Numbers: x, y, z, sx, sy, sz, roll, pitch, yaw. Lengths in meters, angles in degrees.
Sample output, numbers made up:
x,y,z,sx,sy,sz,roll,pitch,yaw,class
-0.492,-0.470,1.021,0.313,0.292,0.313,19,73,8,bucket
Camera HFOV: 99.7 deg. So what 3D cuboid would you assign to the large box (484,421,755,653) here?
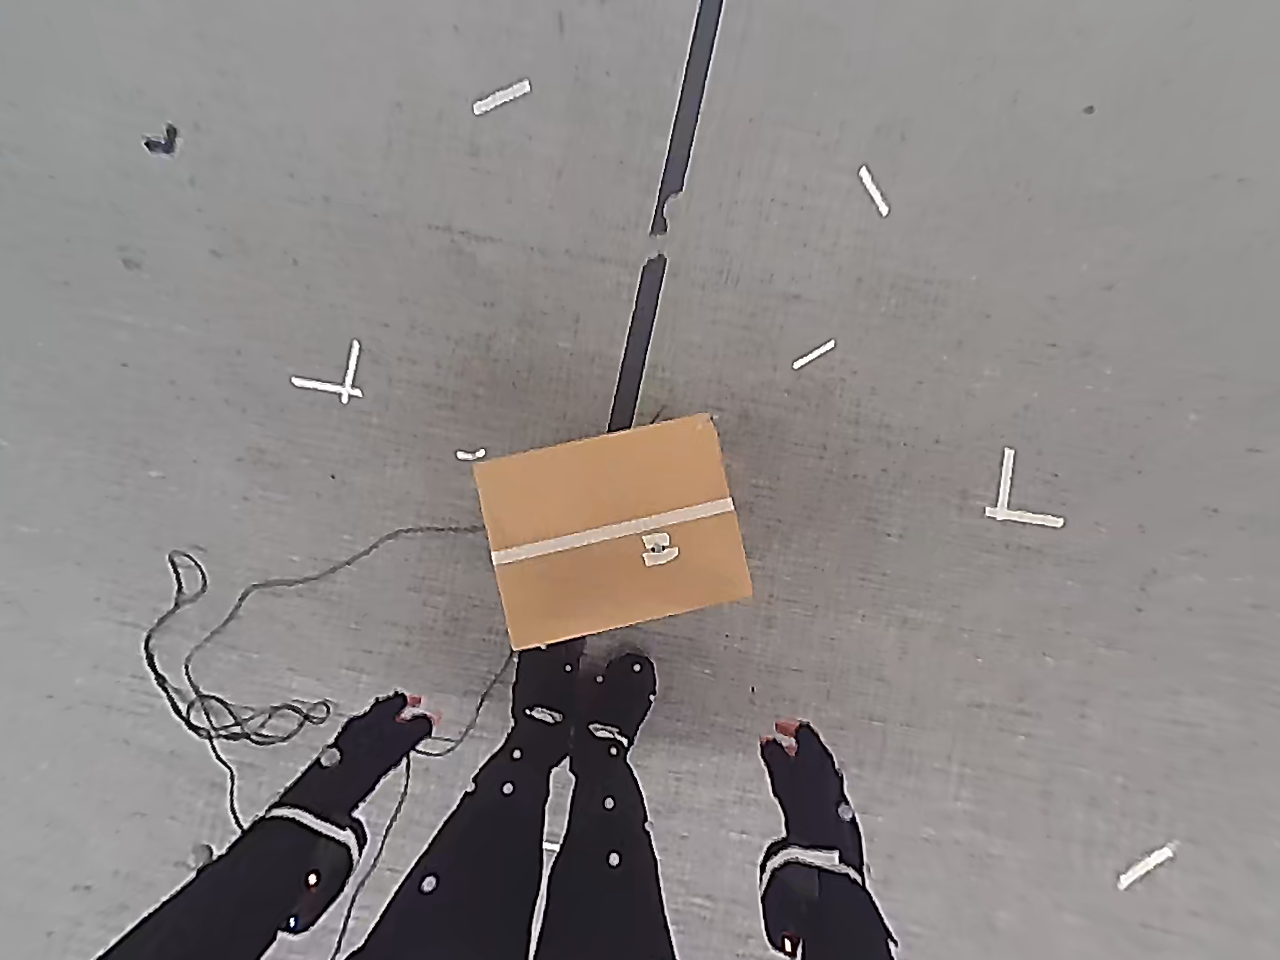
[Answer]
x,y,z,sx,sy,sz,roll,pitch,yaw,class
-0.040,0.100,1.040,0.408,0.320,0.320,-12,89,-3,large box
